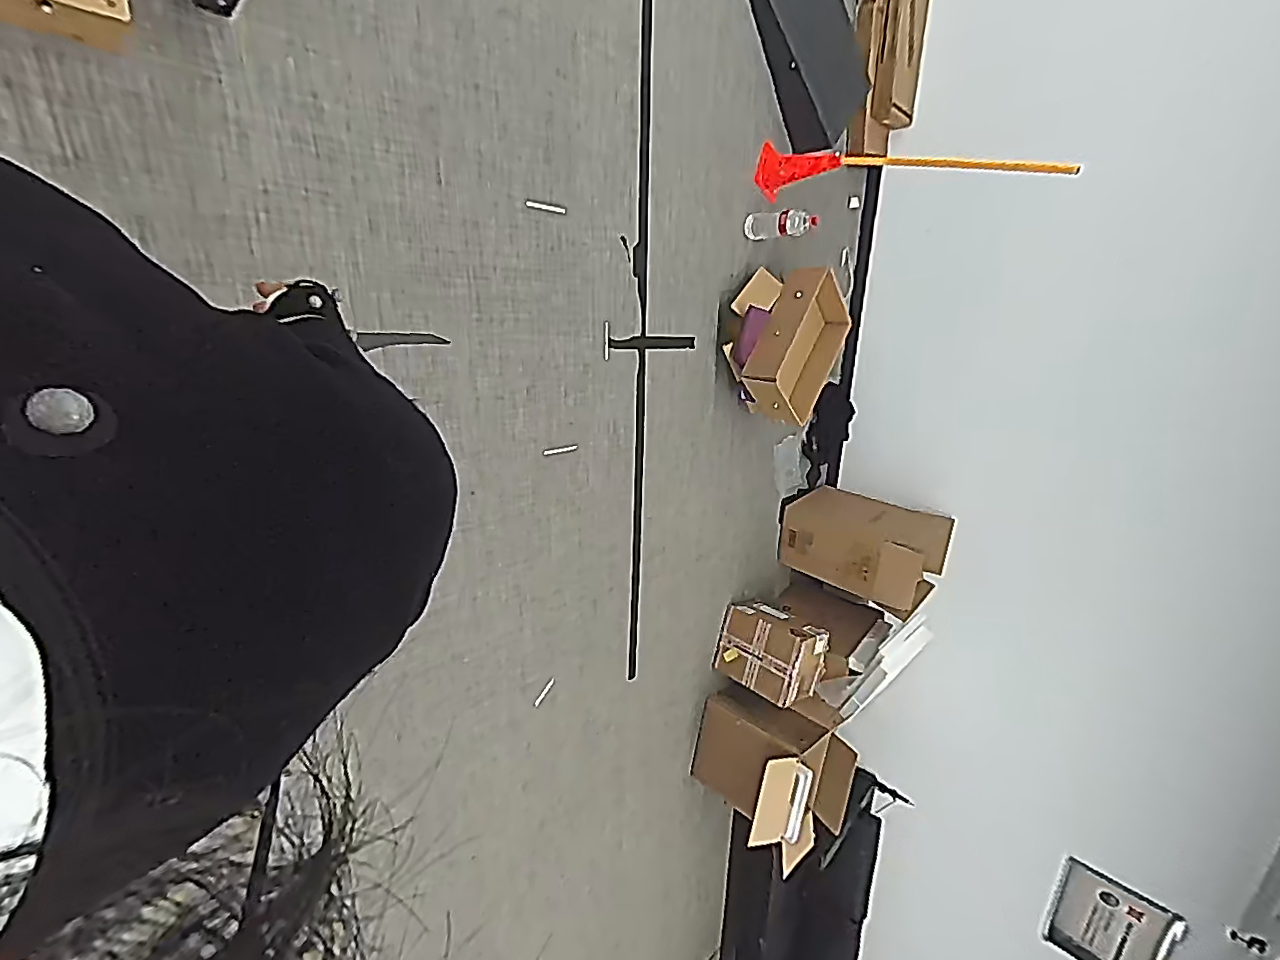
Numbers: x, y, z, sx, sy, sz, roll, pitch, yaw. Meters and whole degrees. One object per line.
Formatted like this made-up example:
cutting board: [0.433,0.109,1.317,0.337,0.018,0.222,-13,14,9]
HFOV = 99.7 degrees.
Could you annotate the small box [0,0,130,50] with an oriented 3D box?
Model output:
small box: [-0.955,-0.840,0.865,0.168,0.176,0.179,-16,114,-43]
